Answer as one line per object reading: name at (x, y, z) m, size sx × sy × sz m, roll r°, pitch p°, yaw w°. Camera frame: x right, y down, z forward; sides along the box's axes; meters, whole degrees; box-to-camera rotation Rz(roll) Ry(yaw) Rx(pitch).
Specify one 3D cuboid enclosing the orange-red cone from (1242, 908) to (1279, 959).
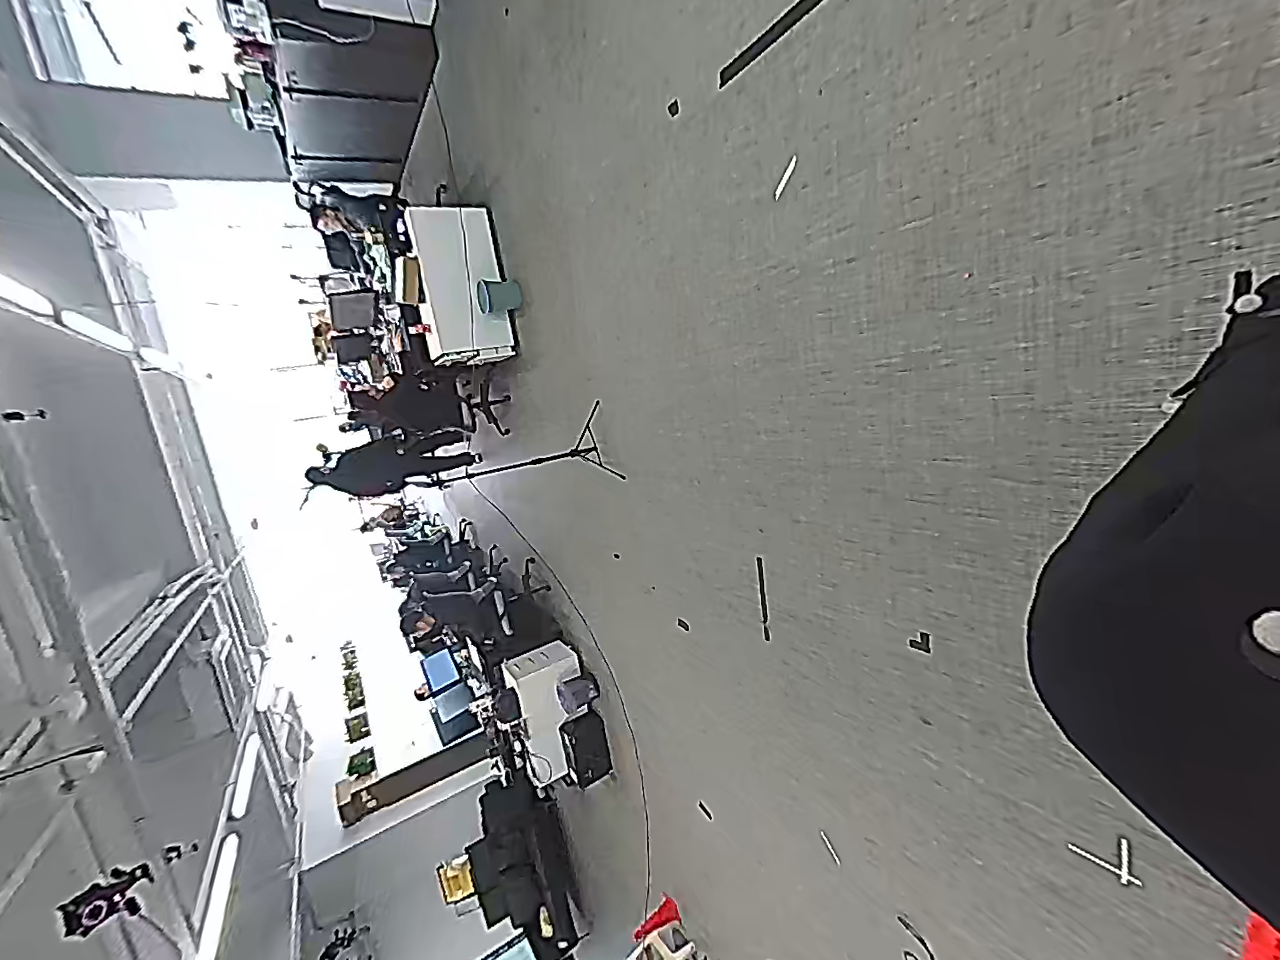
orange-red cone at (1.239, 1.049, 1.021) m, size 0.199 × 0.360 × 0.198 m, roll 19°, pitch 118°, yaw 58°
